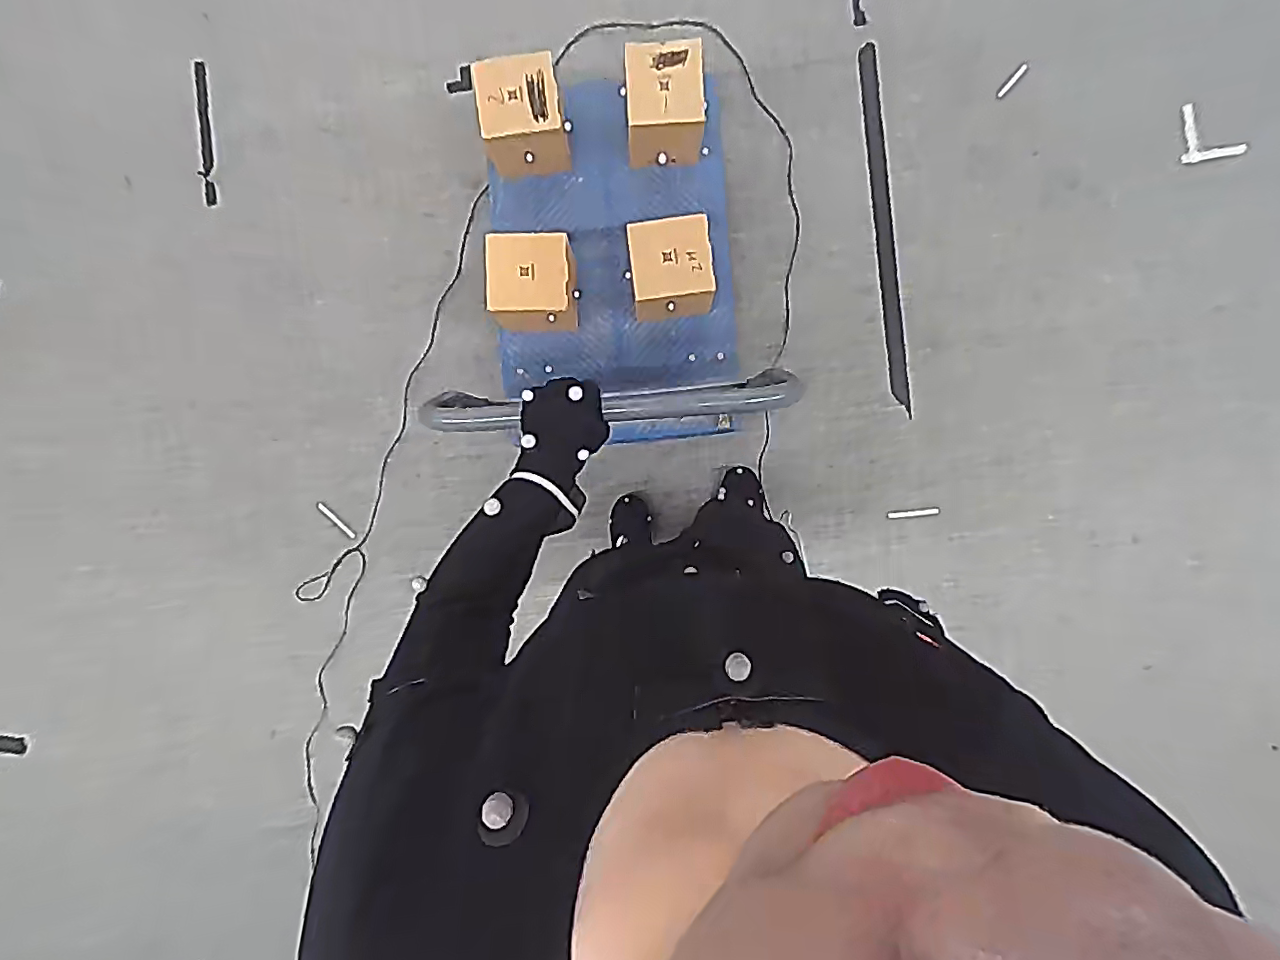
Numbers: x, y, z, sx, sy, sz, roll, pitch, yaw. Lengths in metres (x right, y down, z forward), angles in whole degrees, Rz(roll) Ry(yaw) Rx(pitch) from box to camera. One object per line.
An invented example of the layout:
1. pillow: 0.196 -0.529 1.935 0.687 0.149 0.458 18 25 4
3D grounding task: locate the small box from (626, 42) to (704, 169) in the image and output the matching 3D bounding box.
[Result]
1. small box: 0.052 -0.841 1.227 0.168 0.176 0.179 -3 92 1

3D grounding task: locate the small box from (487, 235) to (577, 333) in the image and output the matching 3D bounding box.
1. small box: -0.240 -0.440 1.235 0.179 0.176 0.168 -1 90 -1

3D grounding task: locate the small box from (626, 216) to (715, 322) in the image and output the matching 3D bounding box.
1. small box: 0.068 -0.471 1.230 0.179 0.176 0.168 -7 91 1
